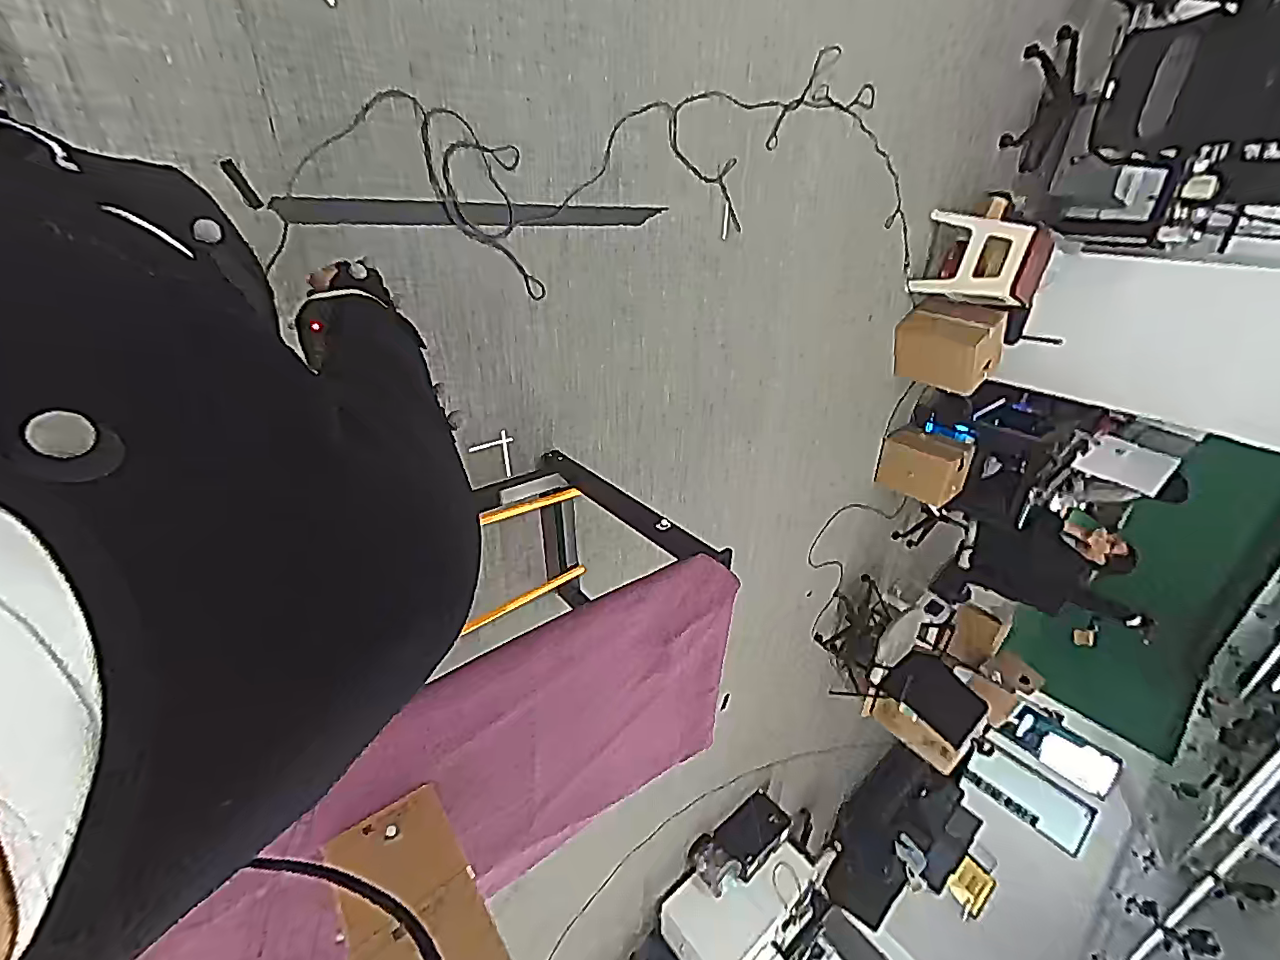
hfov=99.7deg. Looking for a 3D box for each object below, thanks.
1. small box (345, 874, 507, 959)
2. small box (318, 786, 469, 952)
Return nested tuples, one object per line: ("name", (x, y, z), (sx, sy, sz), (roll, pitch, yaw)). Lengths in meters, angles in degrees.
("small box", (-0.272, 0.688, 0.723), (0.168, 0.176, 0.179), (-19, 124, -37))
("small box", (-0.374, 0.625, 0.836), (0.168, 0.176, 0.179), (-19, 124, -37))
